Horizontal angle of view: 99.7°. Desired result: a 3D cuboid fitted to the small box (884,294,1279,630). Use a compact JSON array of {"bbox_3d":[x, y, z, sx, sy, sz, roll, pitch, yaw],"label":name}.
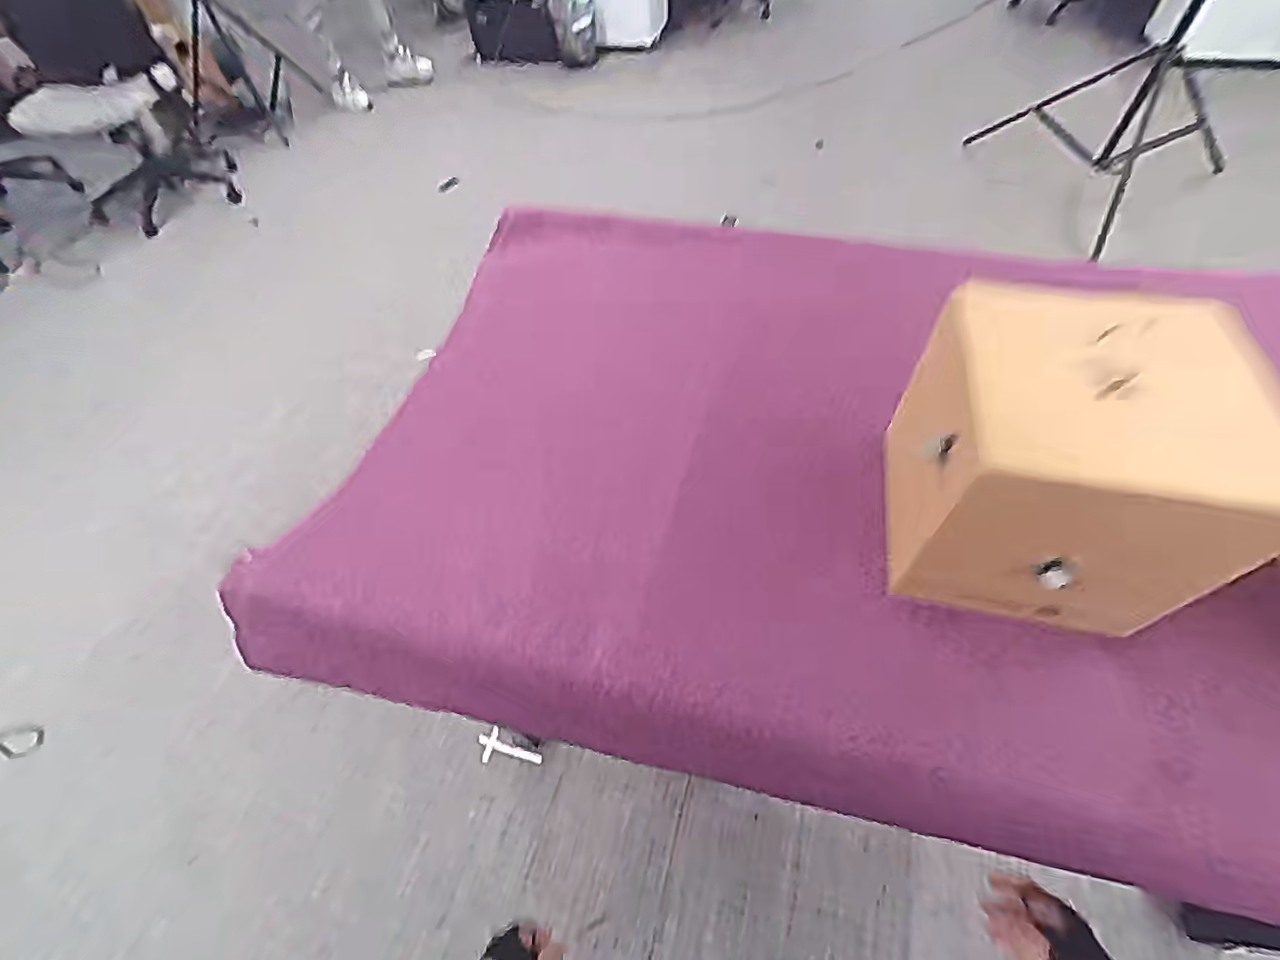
[{"bbox_3d":[0.293,-0.009,0.403,0.168,0.176,0.179,10,54,10],"label":"small box"}]
